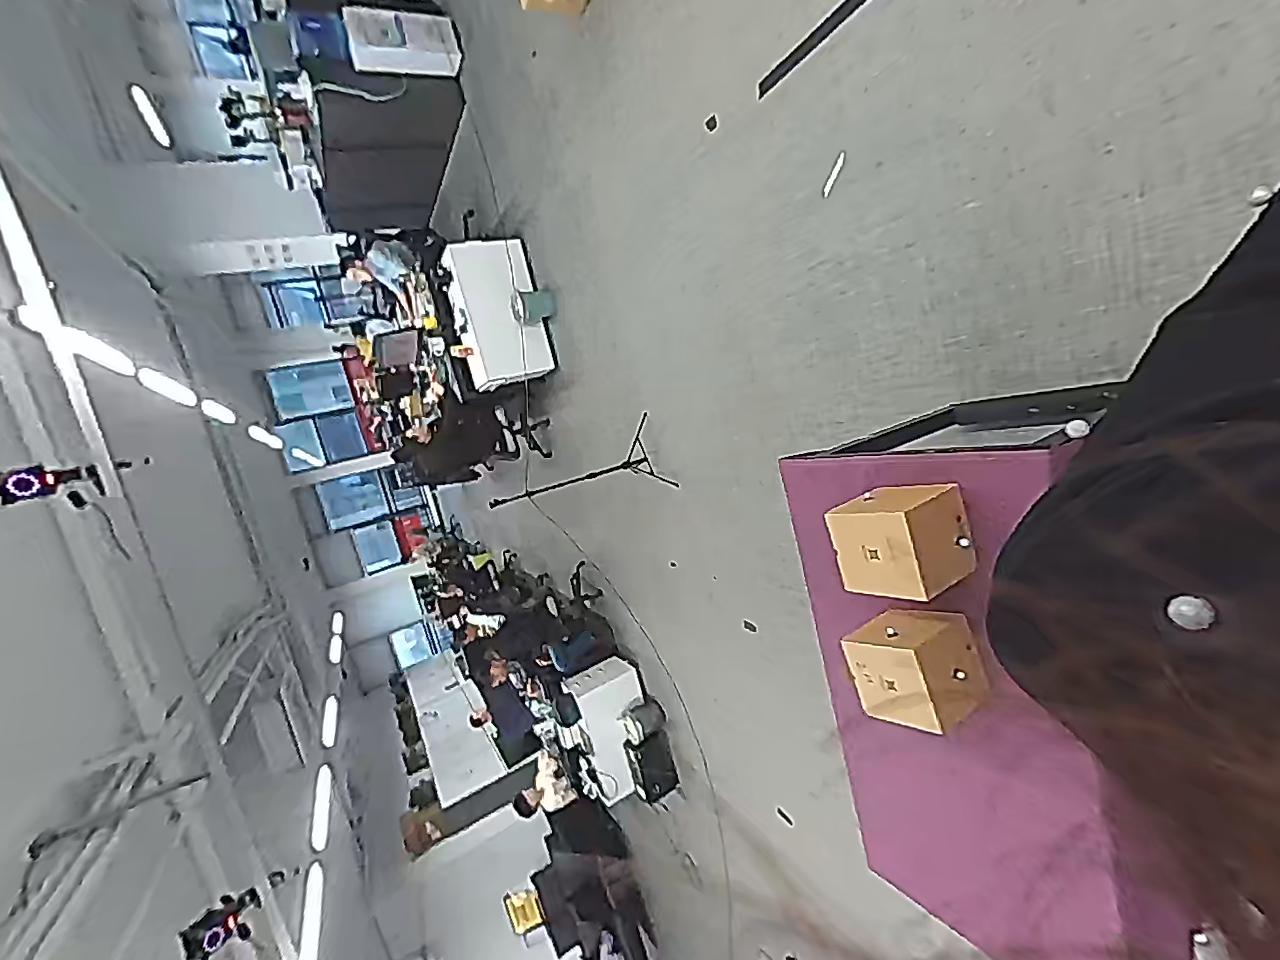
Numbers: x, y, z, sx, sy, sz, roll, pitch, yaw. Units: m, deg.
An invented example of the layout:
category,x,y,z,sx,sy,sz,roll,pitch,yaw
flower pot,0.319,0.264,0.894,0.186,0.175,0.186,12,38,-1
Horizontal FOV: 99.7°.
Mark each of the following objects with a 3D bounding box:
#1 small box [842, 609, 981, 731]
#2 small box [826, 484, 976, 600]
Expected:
category,x,y,z,sx,sy,sz,roll,pitch,yaw
small box,0.551,0.370,1.089,0.179,0.176,0.168,-19,89,63
small box,0.495,0.109,1.032,0.179,0.176,0.168,-7,101,63
